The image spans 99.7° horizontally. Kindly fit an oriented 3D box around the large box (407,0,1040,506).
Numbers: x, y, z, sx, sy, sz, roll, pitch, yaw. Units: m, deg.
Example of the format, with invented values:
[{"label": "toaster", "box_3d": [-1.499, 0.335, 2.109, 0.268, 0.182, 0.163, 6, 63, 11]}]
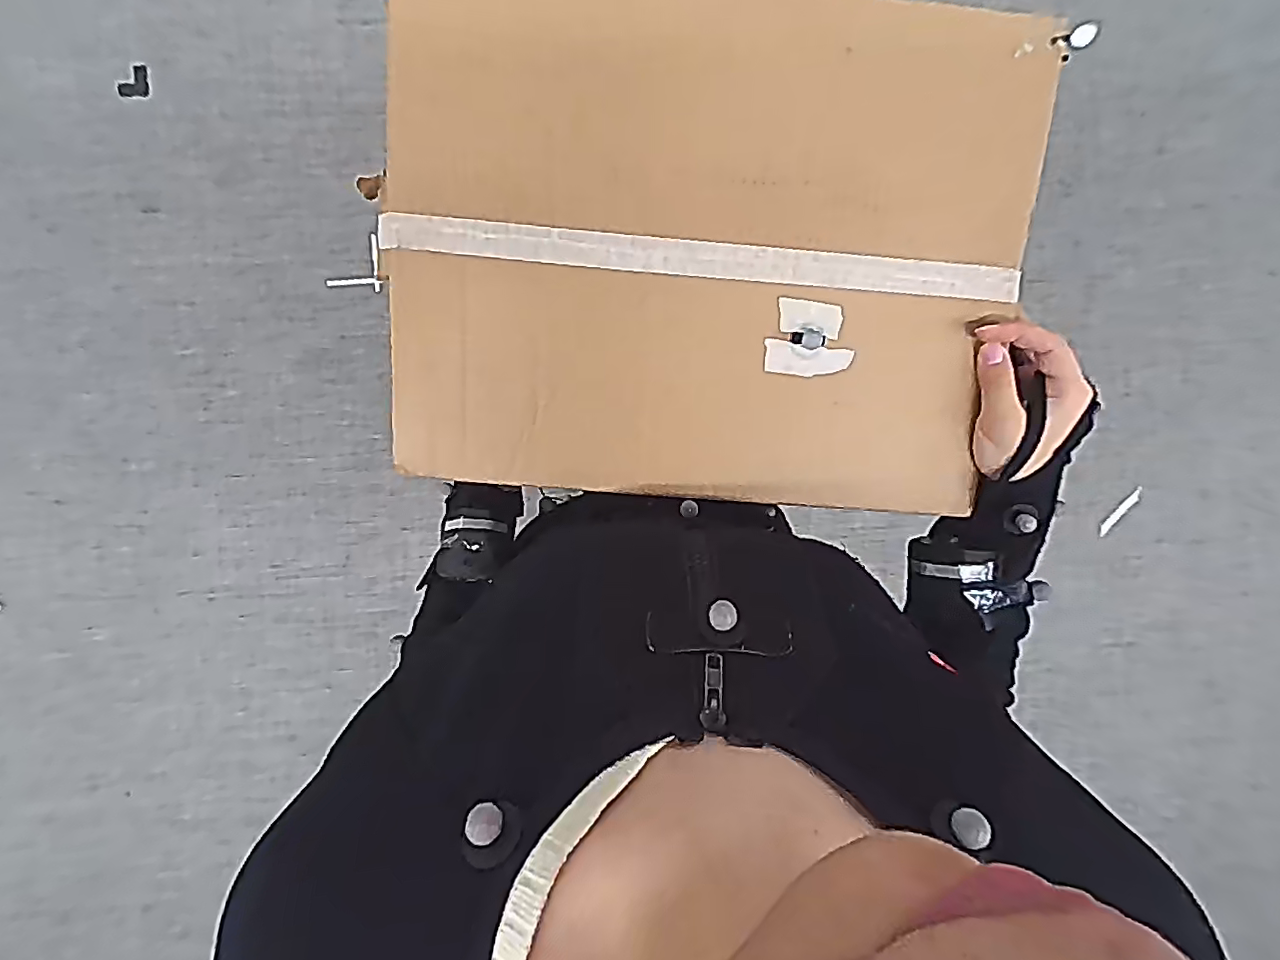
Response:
[{"label": "large box", "box_3d": [0.041, -0.166, 0.503, 0.408, 0.320, 0.320, 3, 101, -4]}]
